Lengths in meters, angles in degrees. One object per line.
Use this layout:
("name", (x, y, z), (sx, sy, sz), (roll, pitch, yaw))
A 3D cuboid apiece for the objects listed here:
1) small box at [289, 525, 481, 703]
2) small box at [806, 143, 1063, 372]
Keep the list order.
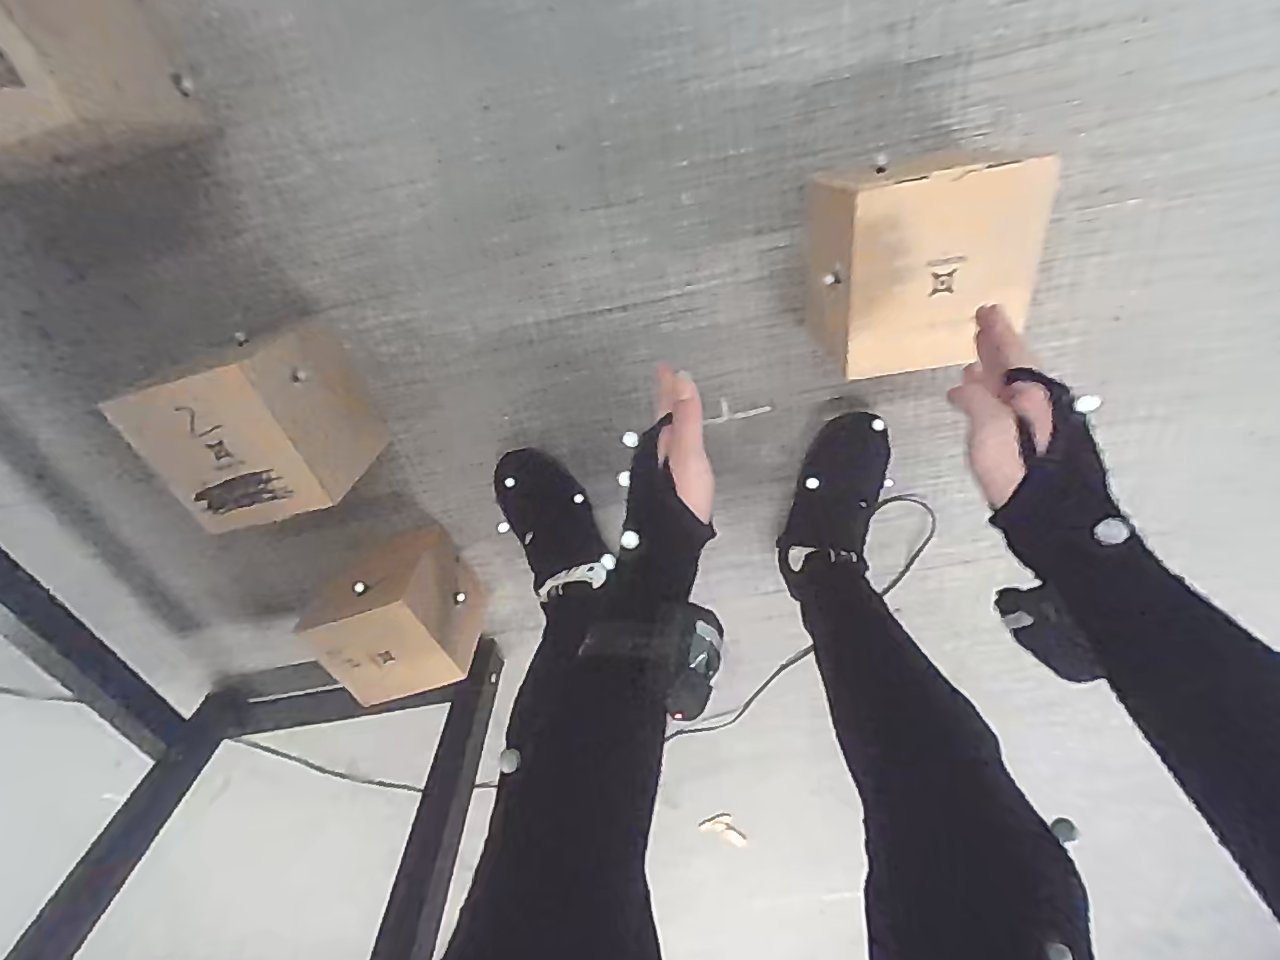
("small box", (-0.353, 0.191, 0.797), (0.179, 0.176, 0.168), (-18, 120, 10))
("small box", (0.274, -0.229, 0.553), (0.168, 0.176, 0.179), (-7, 121, 4))
